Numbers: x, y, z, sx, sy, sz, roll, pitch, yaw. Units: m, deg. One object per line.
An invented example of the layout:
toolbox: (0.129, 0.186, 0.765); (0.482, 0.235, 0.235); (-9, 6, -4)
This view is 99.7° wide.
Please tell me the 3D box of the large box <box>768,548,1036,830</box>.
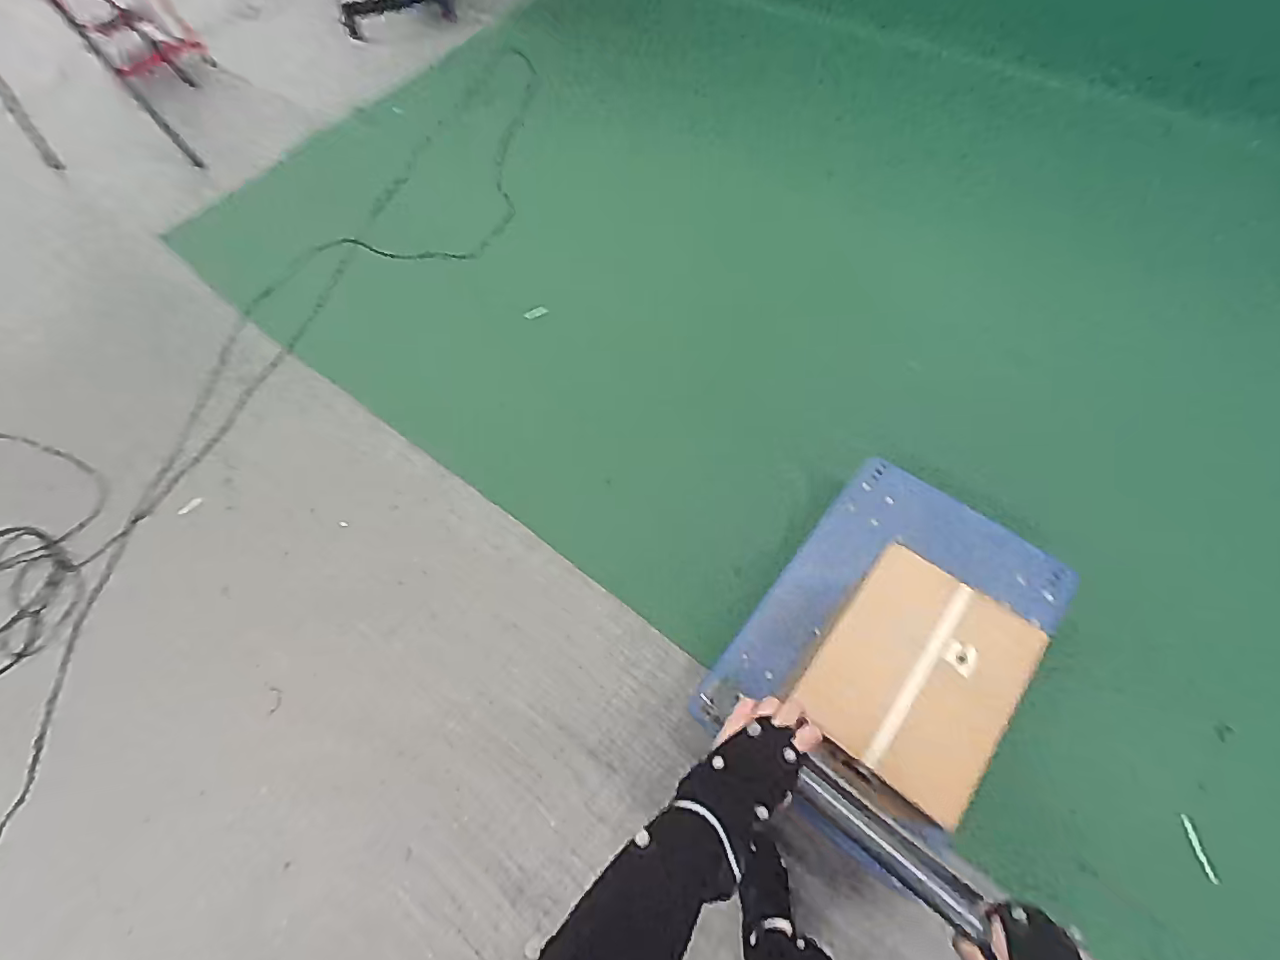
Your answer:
large box: (0.516, 0.430, 1.131); (0.320, 0.320, 0.408); (35, 70, 20)
